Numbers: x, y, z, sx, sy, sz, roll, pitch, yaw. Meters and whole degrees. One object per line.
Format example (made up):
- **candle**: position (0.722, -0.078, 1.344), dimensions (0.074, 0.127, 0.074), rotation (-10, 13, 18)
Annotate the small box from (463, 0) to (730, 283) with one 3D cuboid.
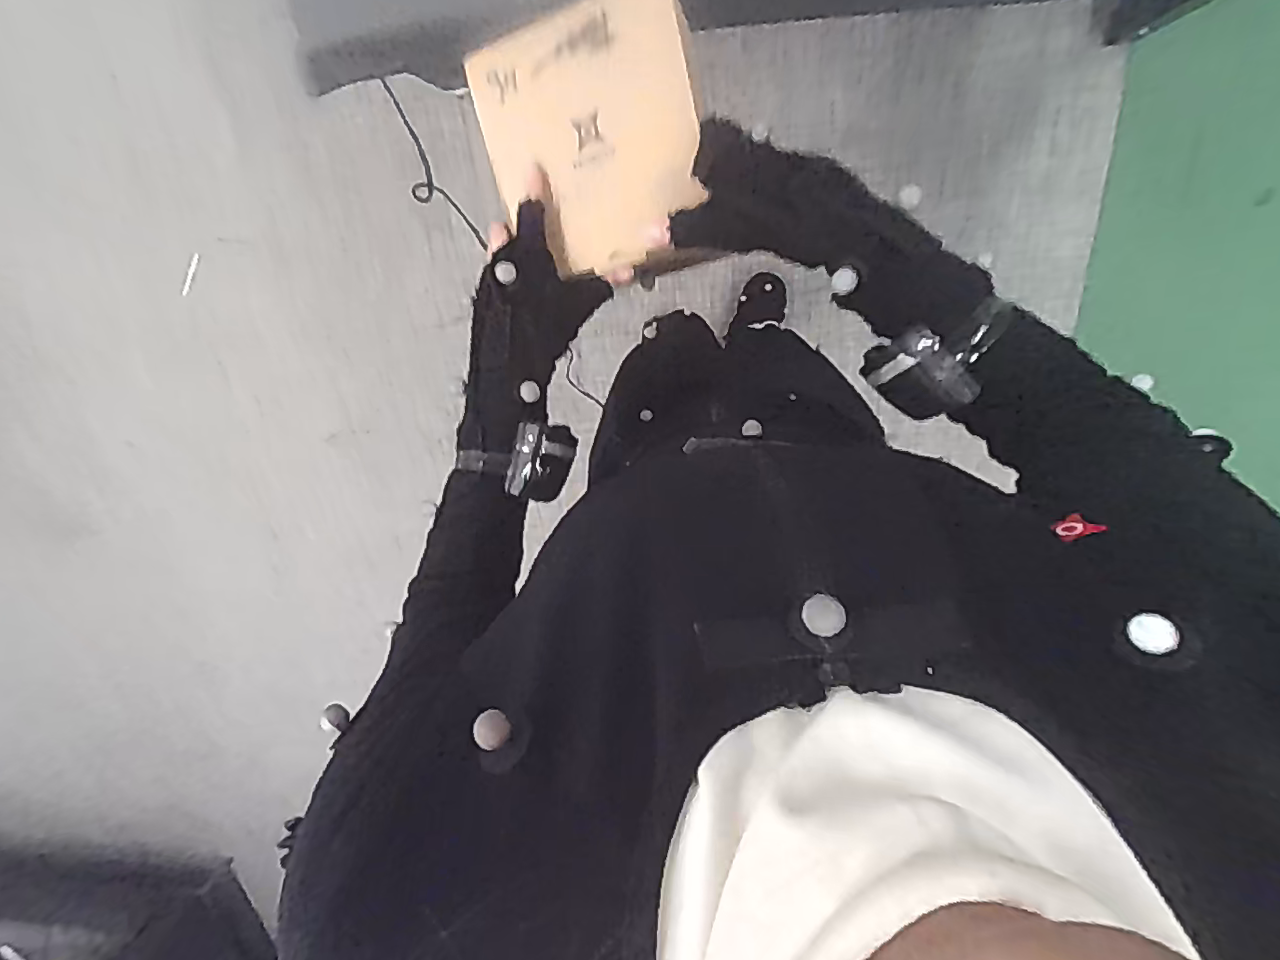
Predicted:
- **small box**: position (-0.020, -0.285, 0.481), dimensions (0.168, 0.176, 0.179), rotation (-10, 105, 17)
